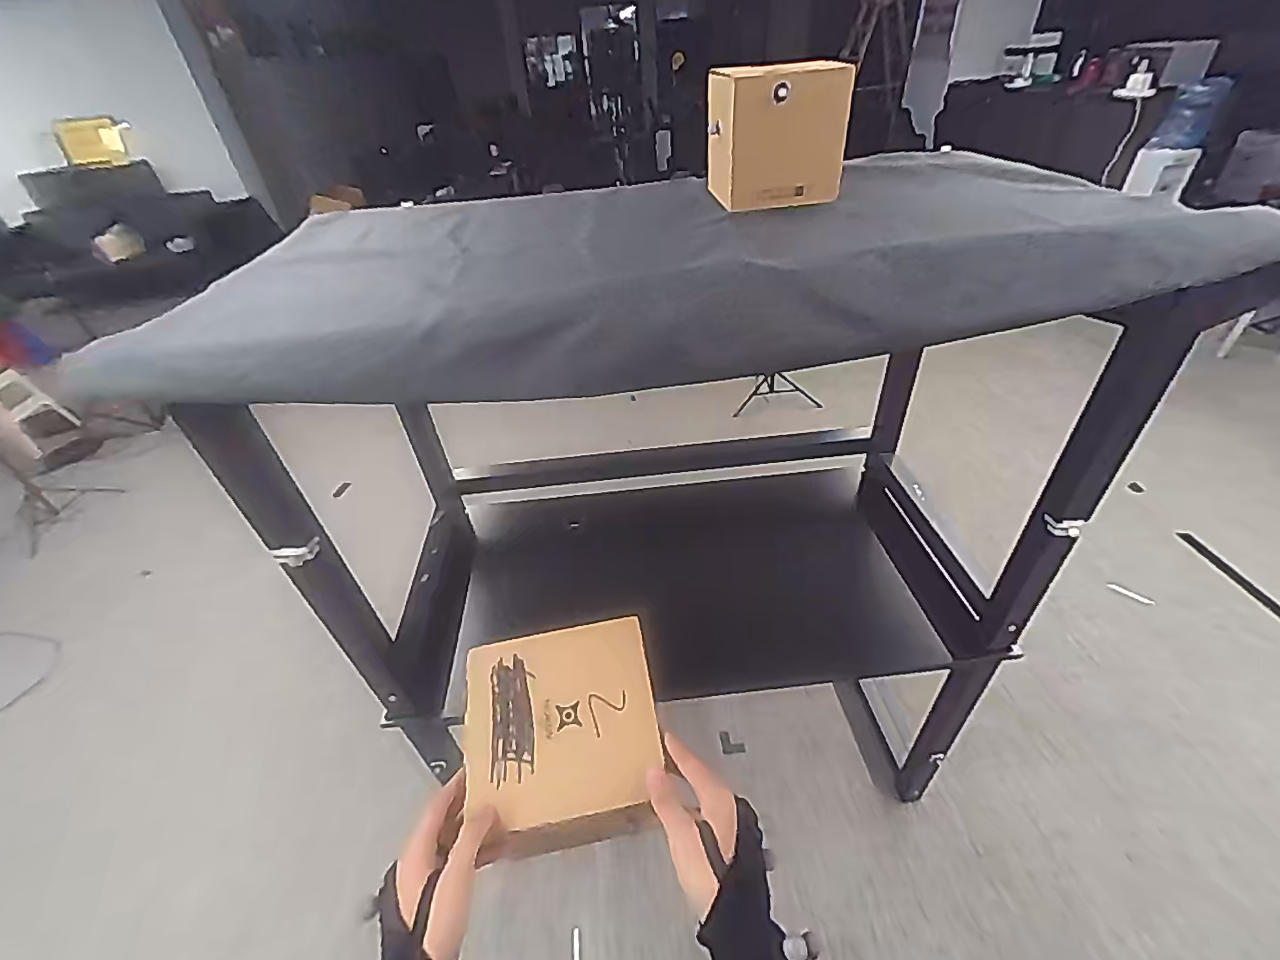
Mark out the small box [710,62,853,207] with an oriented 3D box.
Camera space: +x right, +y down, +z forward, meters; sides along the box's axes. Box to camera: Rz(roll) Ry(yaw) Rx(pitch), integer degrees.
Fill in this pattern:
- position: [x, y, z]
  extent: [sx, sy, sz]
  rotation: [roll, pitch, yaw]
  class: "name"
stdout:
- position: [0.202, -0.529, 0.831]
  extent: [0.168, 0.176, 0.179]
  rotation: [-7, 38, -2]
  class: "small box"
